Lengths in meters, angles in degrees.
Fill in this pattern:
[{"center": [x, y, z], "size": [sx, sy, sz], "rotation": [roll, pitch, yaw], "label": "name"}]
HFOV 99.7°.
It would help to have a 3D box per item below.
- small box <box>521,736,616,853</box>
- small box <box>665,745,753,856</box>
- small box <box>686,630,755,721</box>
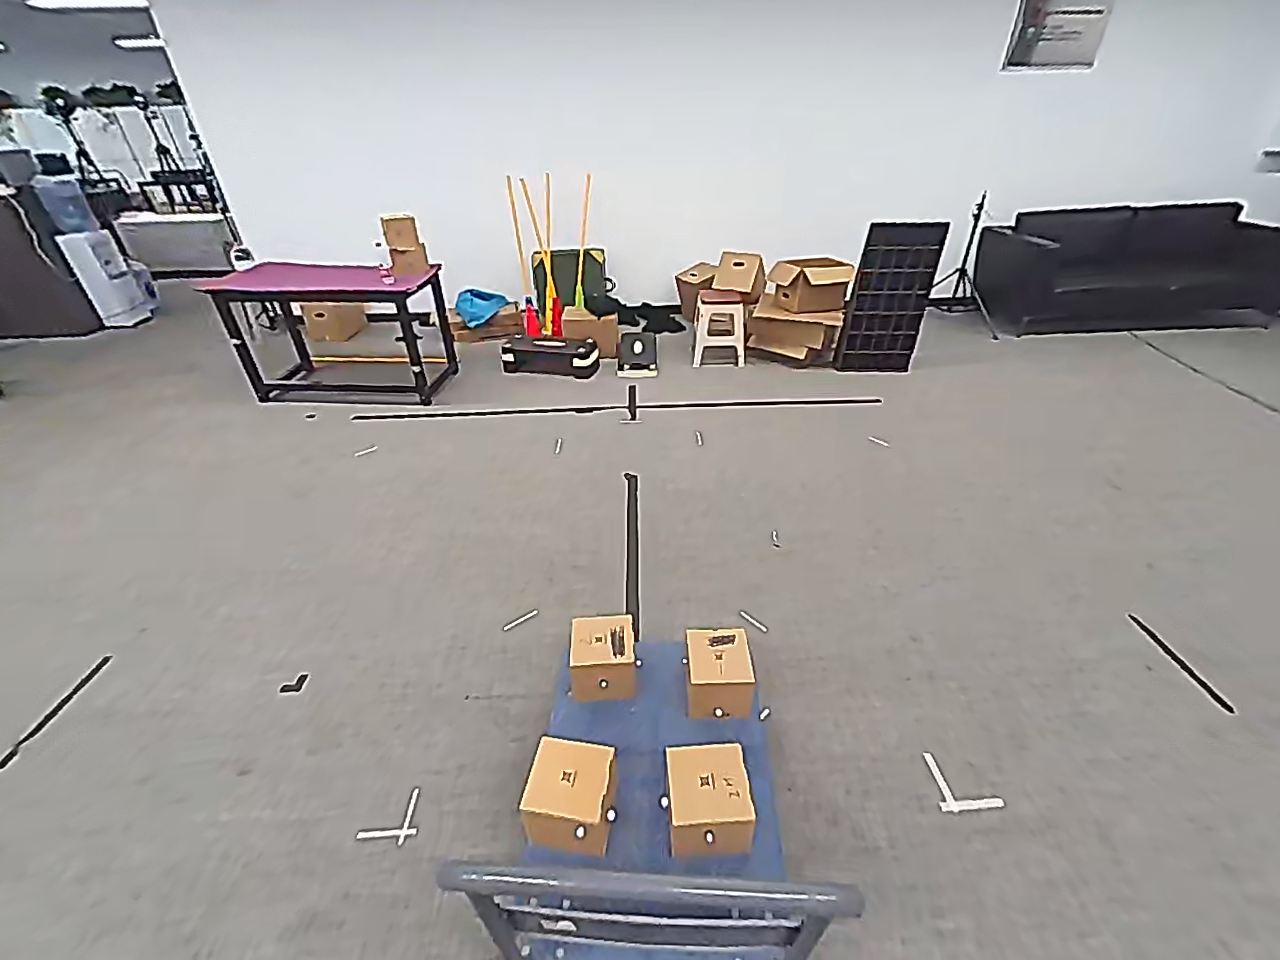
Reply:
[{"center": [-0.155, 0.724, 1.244], "size": [0.179, 0.176, 0.168], "rotation": [6, 34, 7], "label": "small box"}, {"center": [0.151, 0.728, 1.228], "size": [0.179, 0.176, 0.168], "rotation": [-2, 35, -1], "label": "small box"}, {"center": [0.216, 0.540, 1.501], "size": [0.168, 0.176, 0.179], "rotation": [-1, 35, 1], "label": "small box"}]
